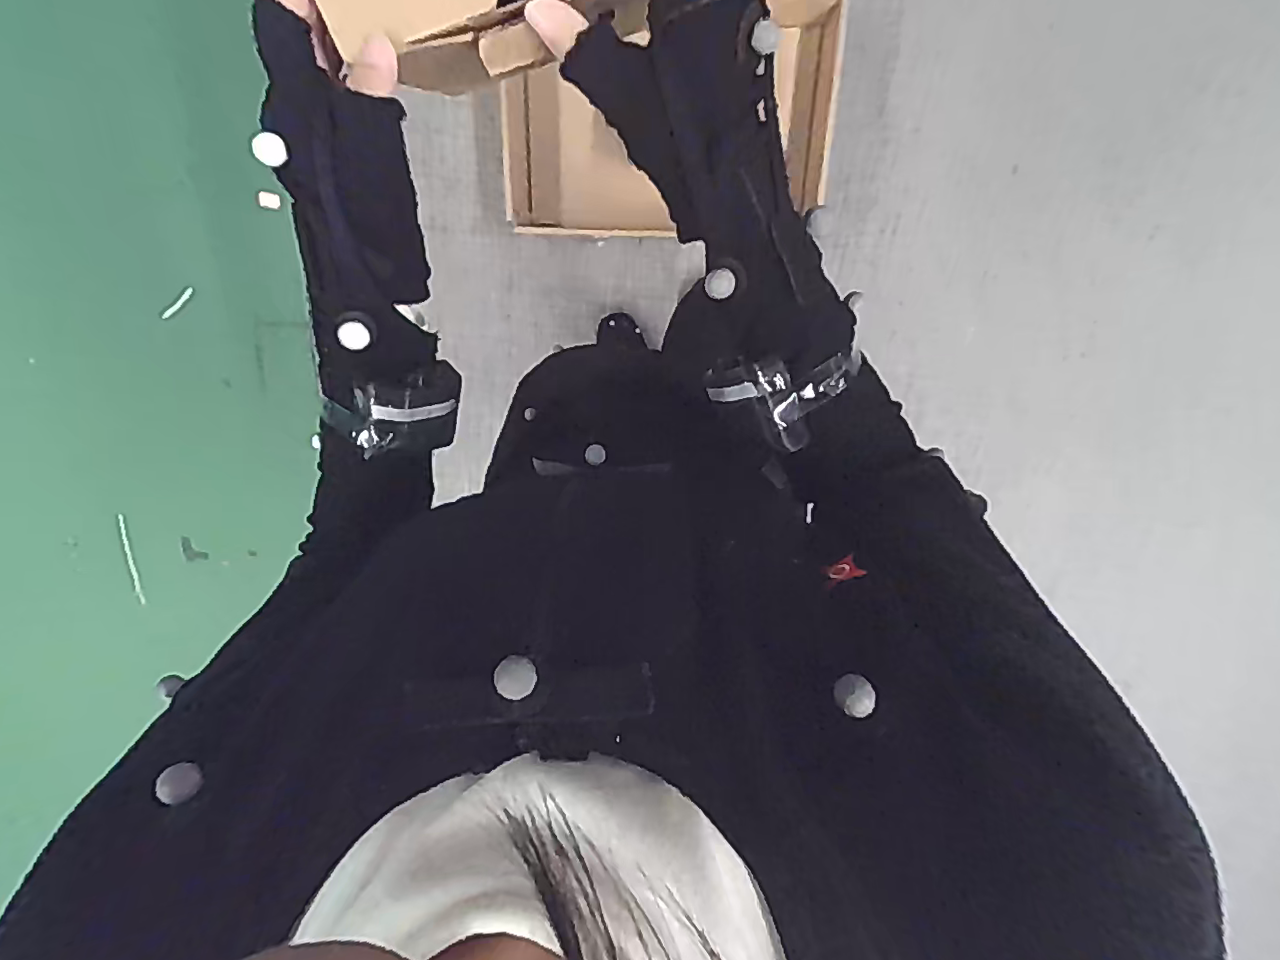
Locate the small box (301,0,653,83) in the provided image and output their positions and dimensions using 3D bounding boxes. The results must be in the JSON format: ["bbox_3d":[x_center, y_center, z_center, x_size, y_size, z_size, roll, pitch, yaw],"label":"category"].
[{"bbox_3d":[-0.087,-0.321,0.266,0.168,0.176,0.179,-14,121,8],"label":"small box"}]

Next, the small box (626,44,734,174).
[{"bbox_3d":[0.079,-0.719,1.067,0.179,0.176,0.168,10,111,3],"label":"small box"}]
